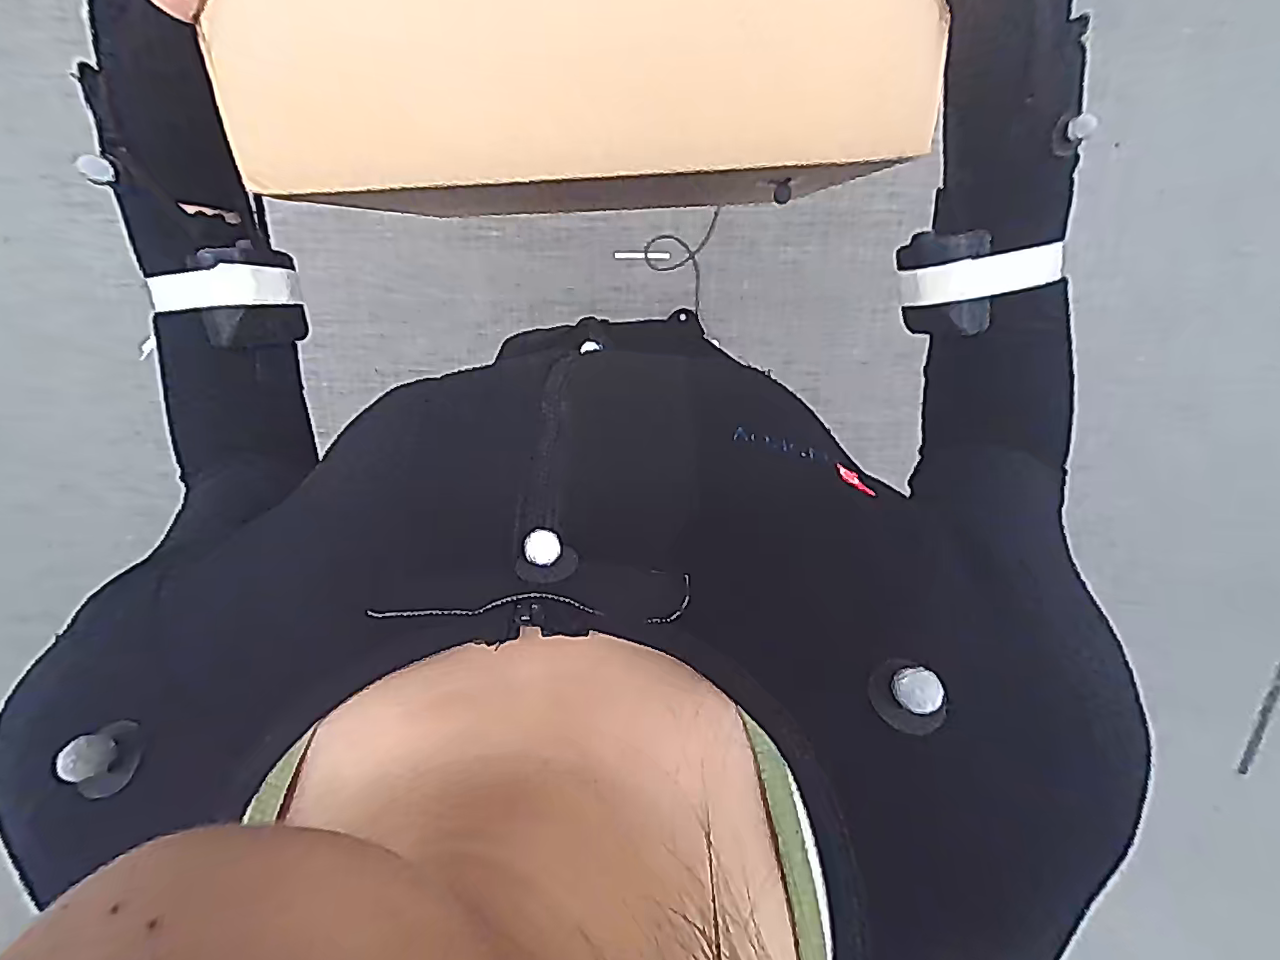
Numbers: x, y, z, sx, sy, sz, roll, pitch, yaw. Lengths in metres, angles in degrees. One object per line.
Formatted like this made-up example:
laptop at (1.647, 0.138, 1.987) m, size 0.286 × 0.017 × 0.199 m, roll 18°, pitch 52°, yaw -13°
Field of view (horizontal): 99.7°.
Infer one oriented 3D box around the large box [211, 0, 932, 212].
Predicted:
large box at (-0.038, -0.388, 0.406) m, size 0.408 × 0.320 × 0.320 m, roll -2°, pitch 113°, yaw 2°
